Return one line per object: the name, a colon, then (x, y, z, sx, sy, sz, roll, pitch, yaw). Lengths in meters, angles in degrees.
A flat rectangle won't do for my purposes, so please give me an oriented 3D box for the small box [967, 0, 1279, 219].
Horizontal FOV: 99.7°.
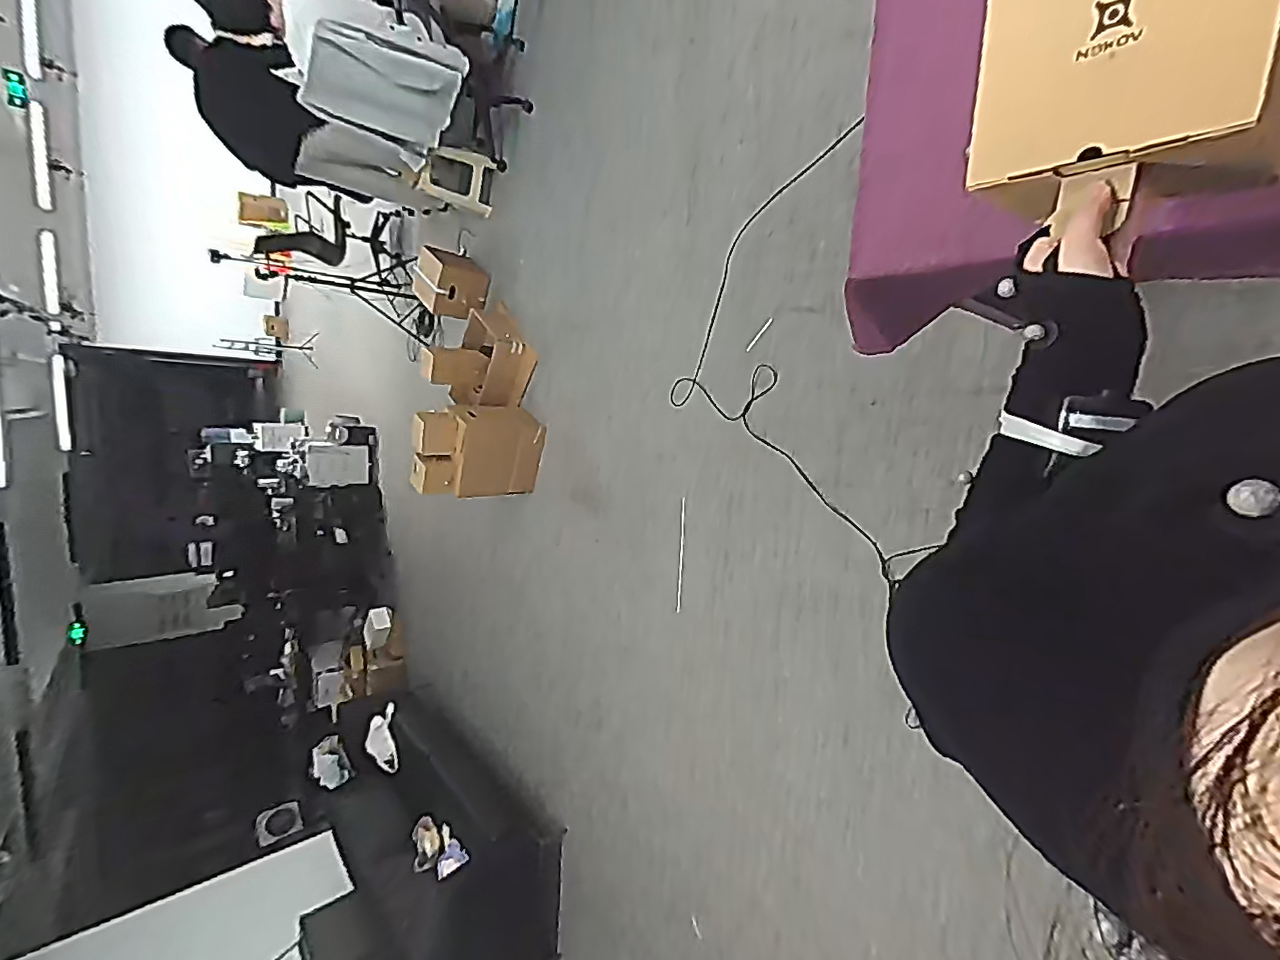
small box: (0.395, -0.329, 0.434, 0.168, 0.176, 0.179, 16, 110, 50)
